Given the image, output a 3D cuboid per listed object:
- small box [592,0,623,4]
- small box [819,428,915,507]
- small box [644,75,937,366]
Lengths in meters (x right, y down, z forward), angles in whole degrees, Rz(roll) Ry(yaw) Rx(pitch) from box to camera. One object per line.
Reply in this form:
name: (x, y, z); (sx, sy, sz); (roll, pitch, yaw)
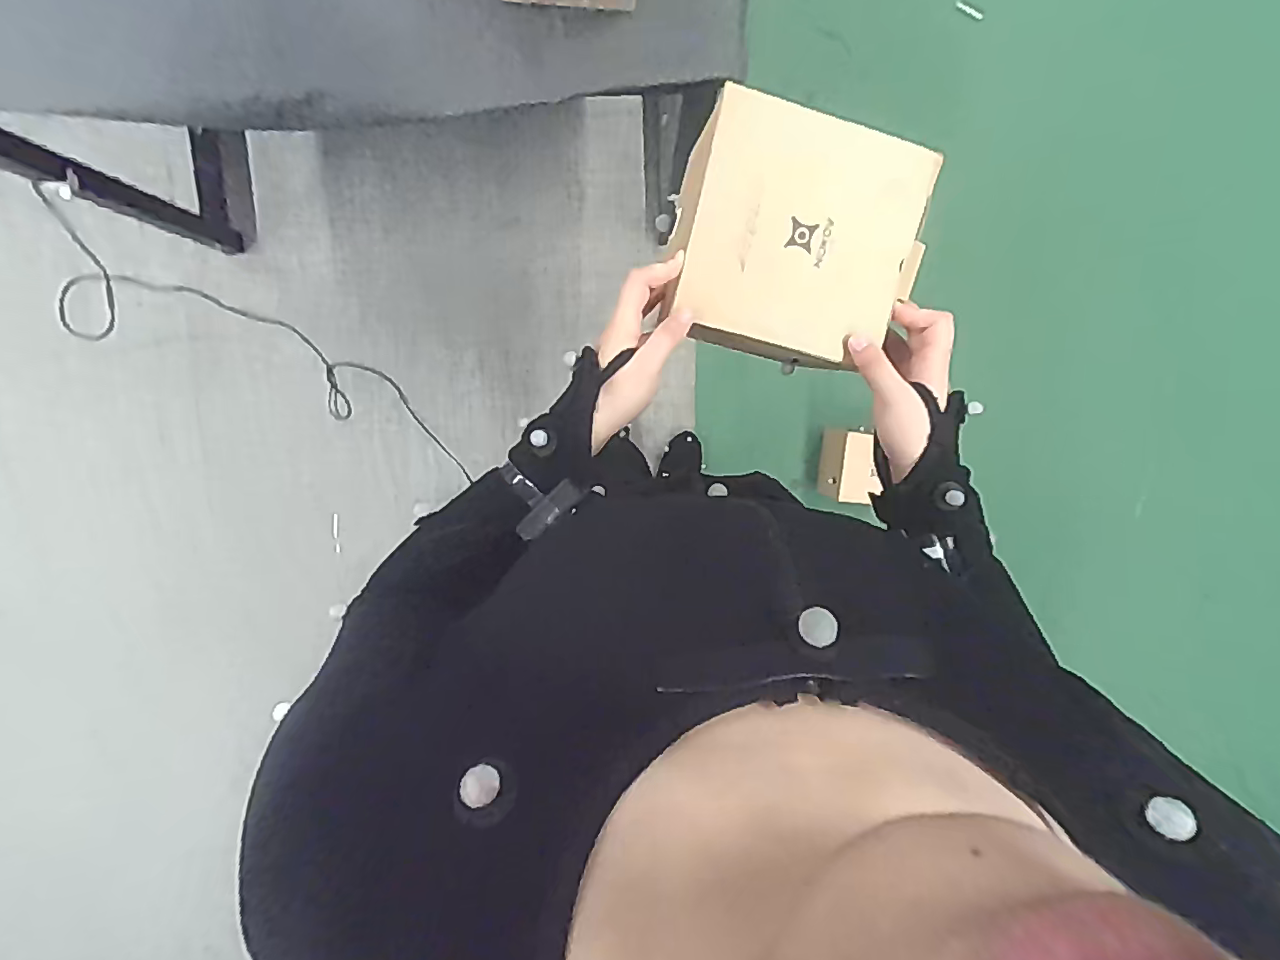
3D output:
small box: (-0.083, -0.662, 0.566); (0.168, 0.176, 0.179); (4, 95, 0)
small box: (0.575, -0.038, 1.394); (0.168, 0.176, 0.179); (5, 97, -2)
small box: (0.110, -0.203, 0.476); (0.179, 0.176, 0.168); (12, 101, -7)
